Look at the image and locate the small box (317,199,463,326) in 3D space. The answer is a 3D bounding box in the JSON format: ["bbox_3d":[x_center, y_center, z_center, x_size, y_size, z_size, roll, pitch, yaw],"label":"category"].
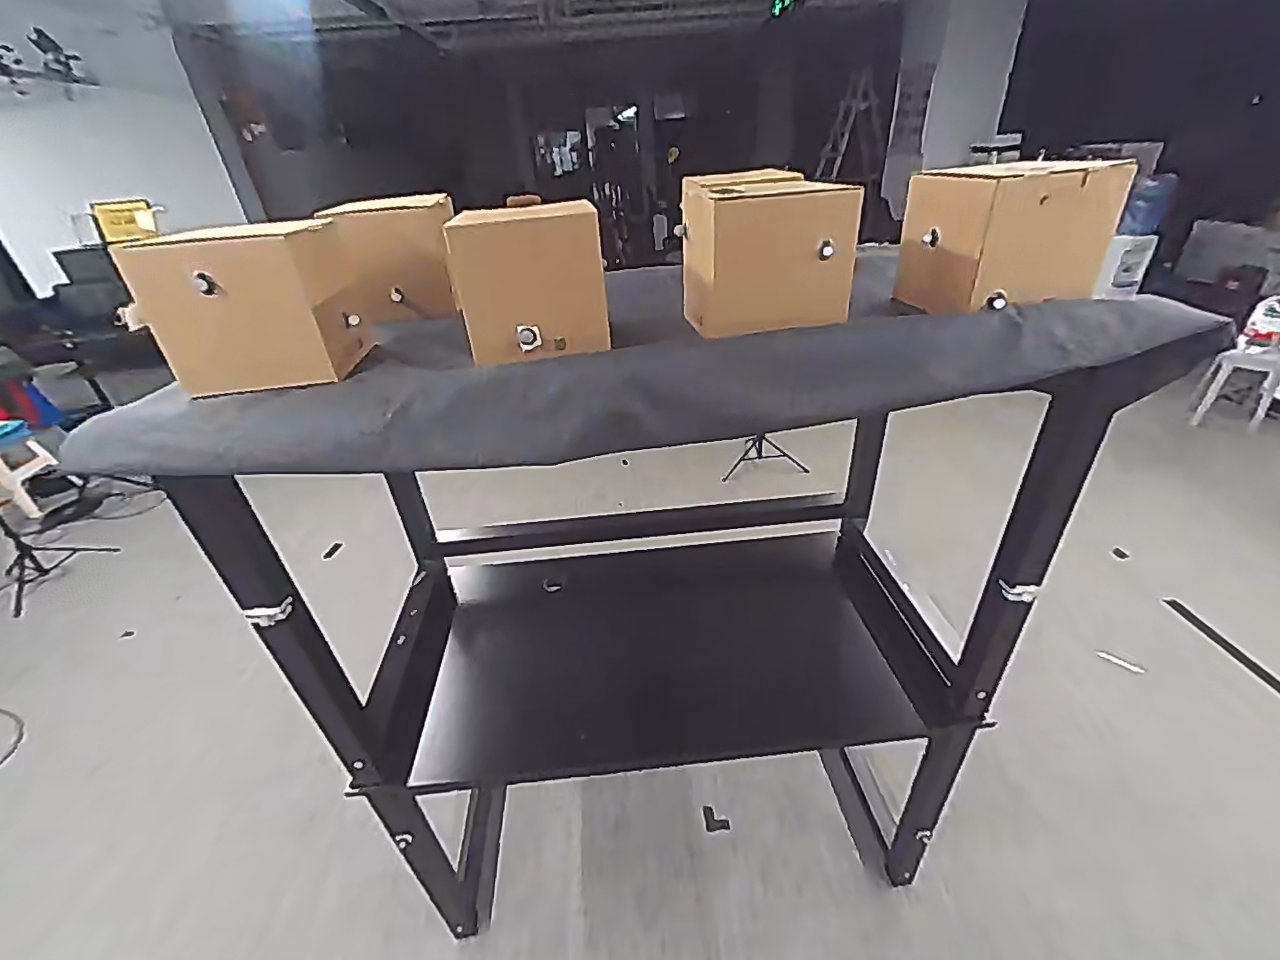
[{"bbox_3d":[-0.400,-0.370,0.918,0.179,0.176,0.168,-6,32,-4],"label":"small box"}]

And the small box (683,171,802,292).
[{"bbox_3d":[0.173,-0.434,0.948,0.168,0.176,0.179,-7,32,-3],"label":"small box"}]

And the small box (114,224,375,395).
[{"bbox_3d":[-0.461,-0.212,0.669,0.179,0.176,0.168,-7,31,-5],"label":"small box"}]

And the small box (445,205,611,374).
[{"bbox_3d":[-0.131,-0.245,0.684,0.168,0.176,0.179,-9,31,-5],"label":"small box"}]

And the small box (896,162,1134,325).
[{"bbox_3d":[0.462,-0.305,0.701,0.168,0.176,0.179,-8,31,-4],"label":"small box"}]
